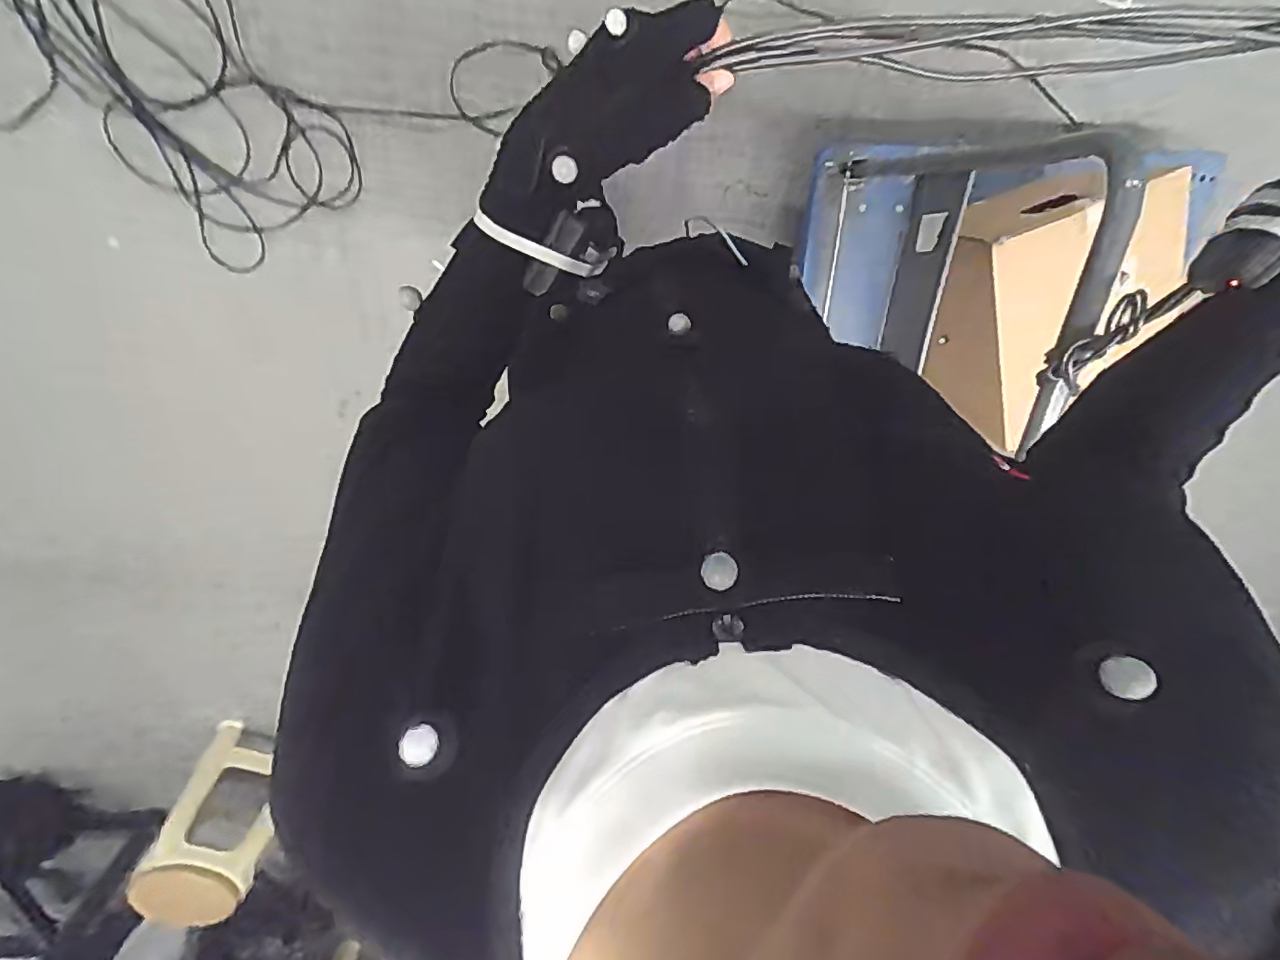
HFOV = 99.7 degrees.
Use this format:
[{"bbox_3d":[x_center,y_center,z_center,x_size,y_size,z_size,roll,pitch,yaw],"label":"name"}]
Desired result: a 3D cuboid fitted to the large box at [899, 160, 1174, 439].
[{"bbox_3d":[0.768,-0.358,1.088,0.320,0.320,0.408,-21,116,6],"label":"large box"}]
